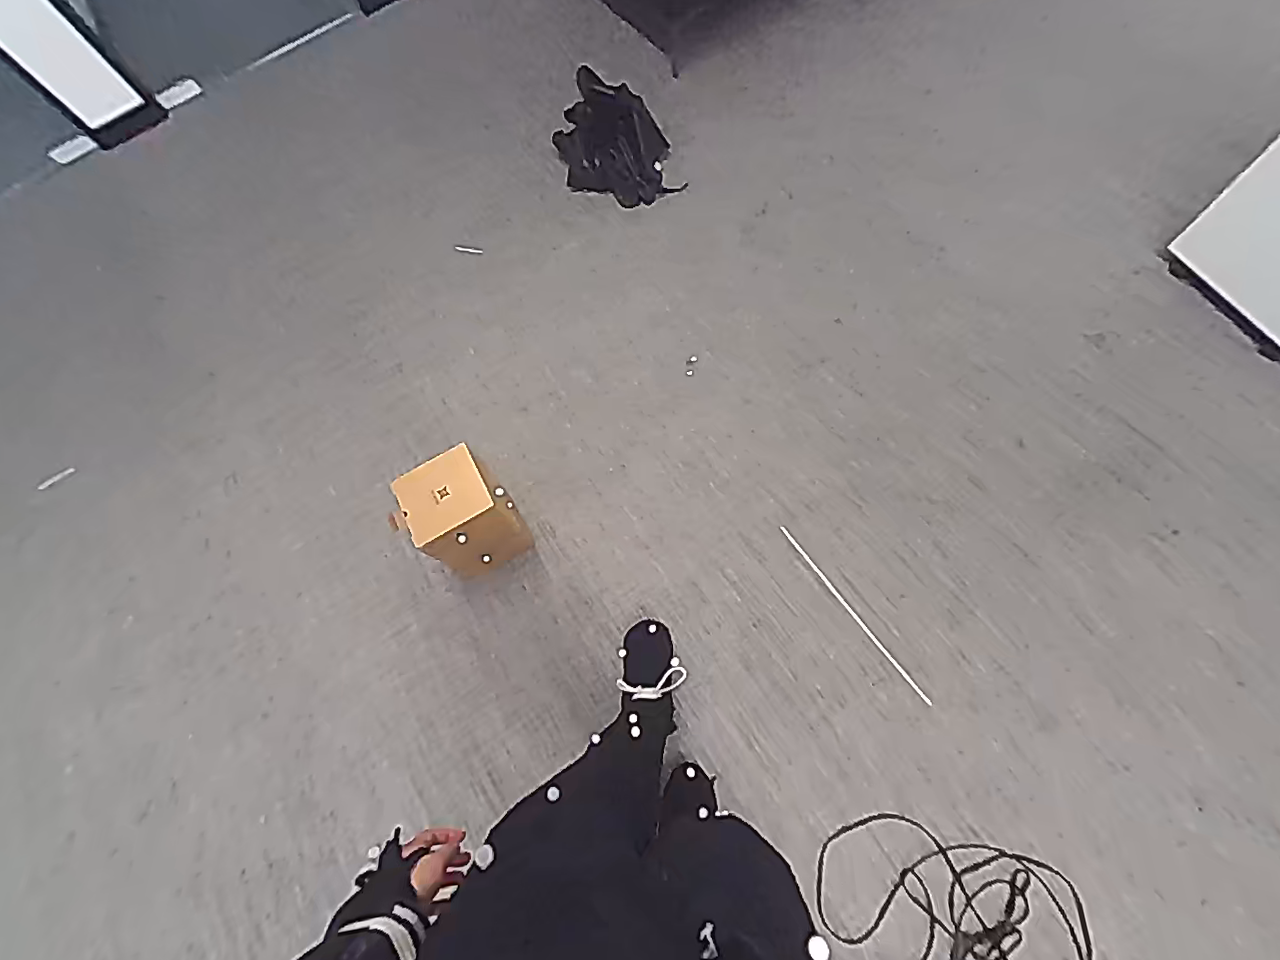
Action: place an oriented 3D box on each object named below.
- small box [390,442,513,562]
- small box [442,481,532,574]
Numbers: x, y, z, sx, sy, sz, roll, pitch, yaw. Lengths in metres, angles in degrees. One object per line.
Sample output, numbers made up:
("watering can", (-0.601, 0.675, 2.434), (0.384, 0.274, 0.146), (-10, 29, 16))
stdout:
("small box", (-0.390, 0.052, 1.158), (0.179, 0.176, 0.168), (-30, 69, -5))
("small box", (-0.390, 0.108, 1.312), (0.179, 0.176, 0.168), (-31, 69, -4))
